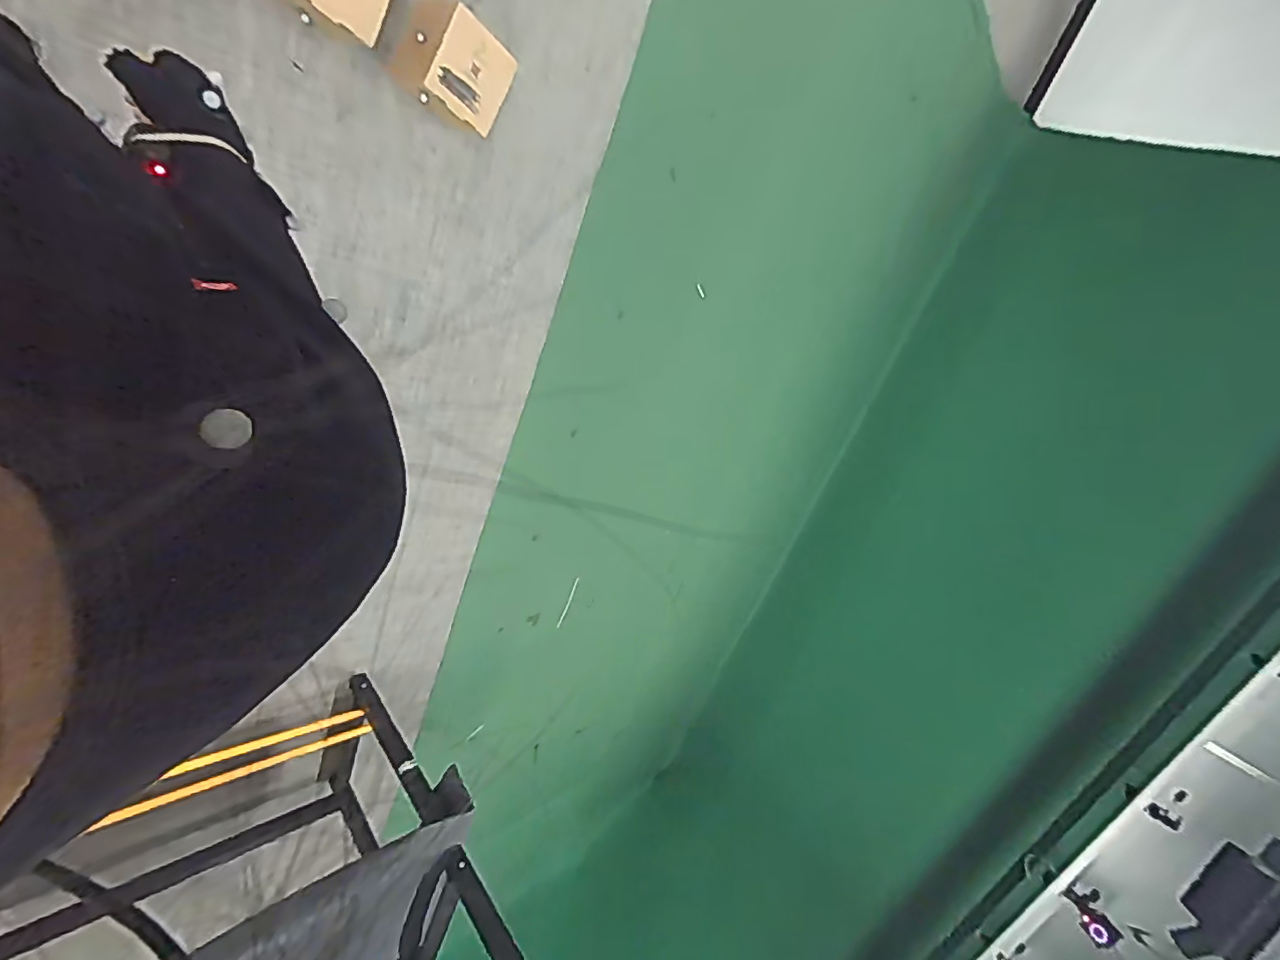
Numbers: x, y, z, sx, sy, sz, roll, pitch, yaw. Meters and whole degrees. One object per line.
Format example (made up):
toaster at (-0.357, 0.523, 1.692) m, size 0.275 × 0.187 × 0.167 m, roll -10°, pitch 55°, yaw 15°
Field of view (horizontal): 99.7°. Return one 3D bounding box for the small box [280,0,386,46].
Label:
small box at (-0.571, -0.937, 0.977) m, size 0.168 × 0.176 × 0.179 m, roll 12°, pitch 111°, yaw -53°
